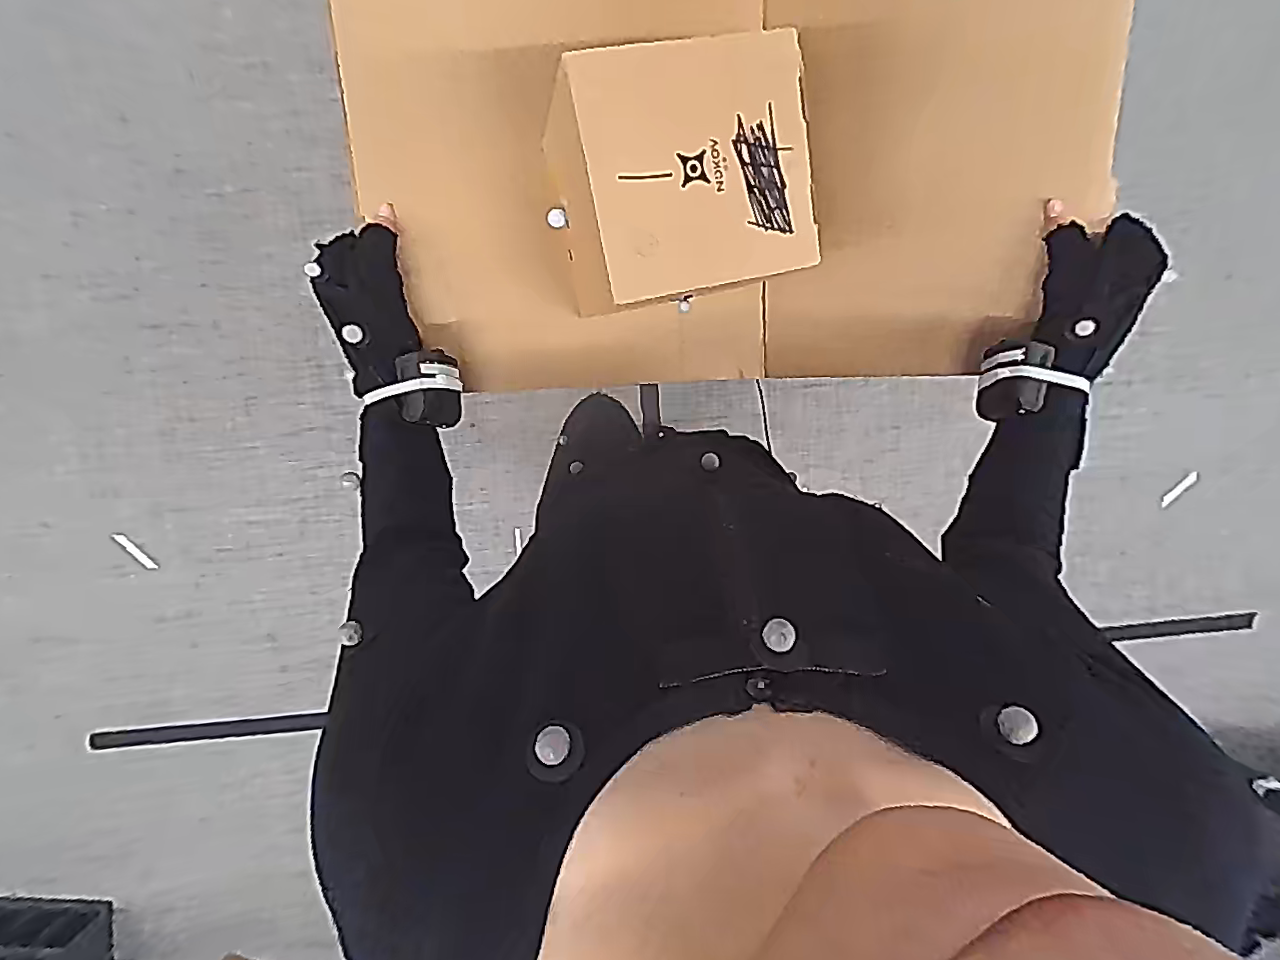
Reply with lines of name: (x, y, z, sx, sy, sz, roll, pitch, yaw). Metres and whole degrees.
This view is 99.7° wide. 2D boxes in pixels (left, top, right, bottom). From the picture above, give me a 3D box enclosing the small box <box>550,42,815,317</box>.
small box: (0.028, -0.248, 0.483, 0.179, 0.176, 0.168, -15, 105, -11)
